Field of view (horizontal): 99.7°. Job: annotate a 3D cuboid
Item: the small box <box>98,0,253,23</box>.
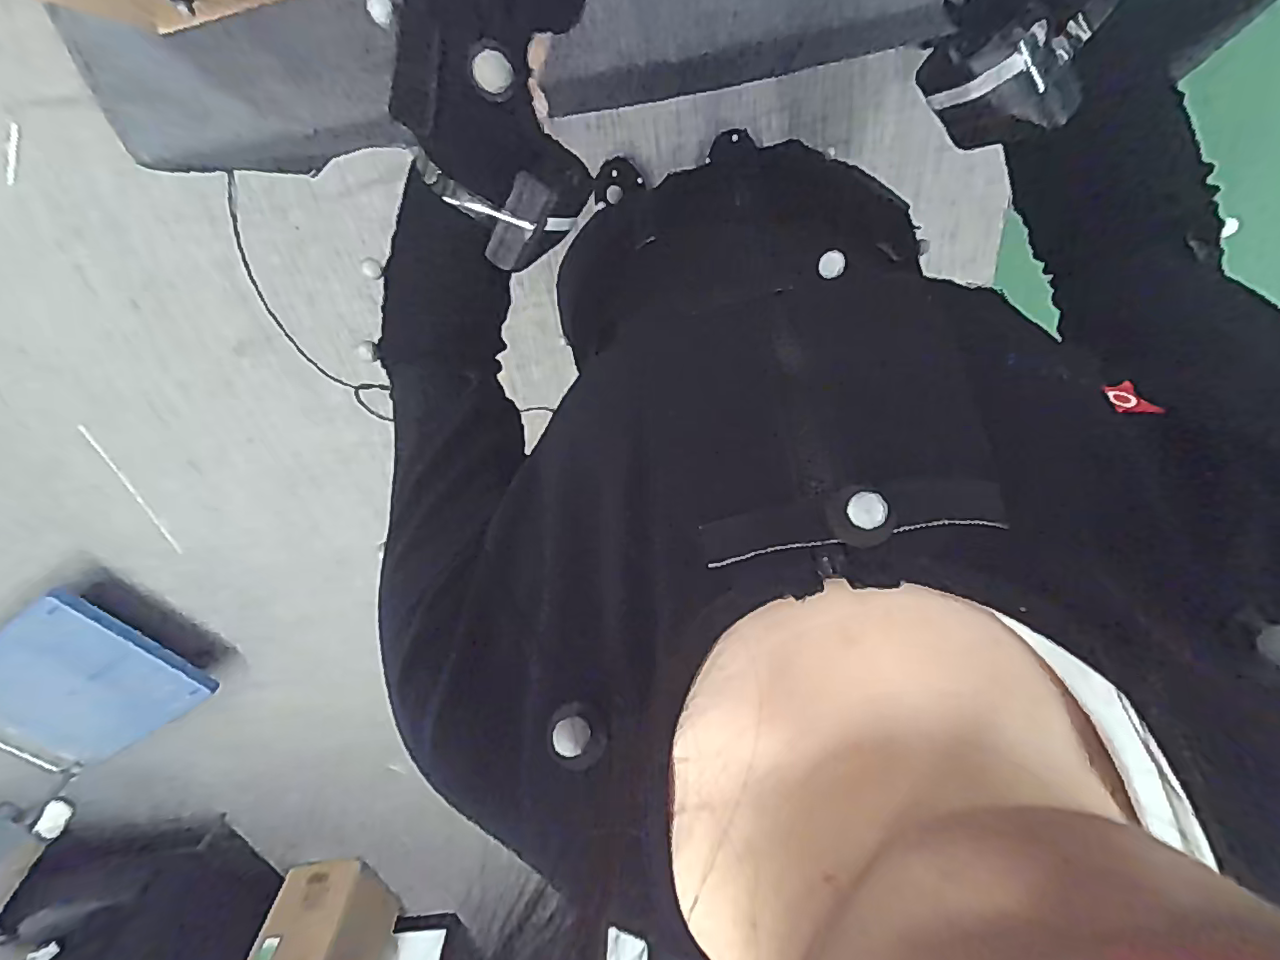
[{"bbox_3d":[-0.404,-0.483,0.401,0.168,0.176,0.179,-11,121,6],"label":"small box"}]
